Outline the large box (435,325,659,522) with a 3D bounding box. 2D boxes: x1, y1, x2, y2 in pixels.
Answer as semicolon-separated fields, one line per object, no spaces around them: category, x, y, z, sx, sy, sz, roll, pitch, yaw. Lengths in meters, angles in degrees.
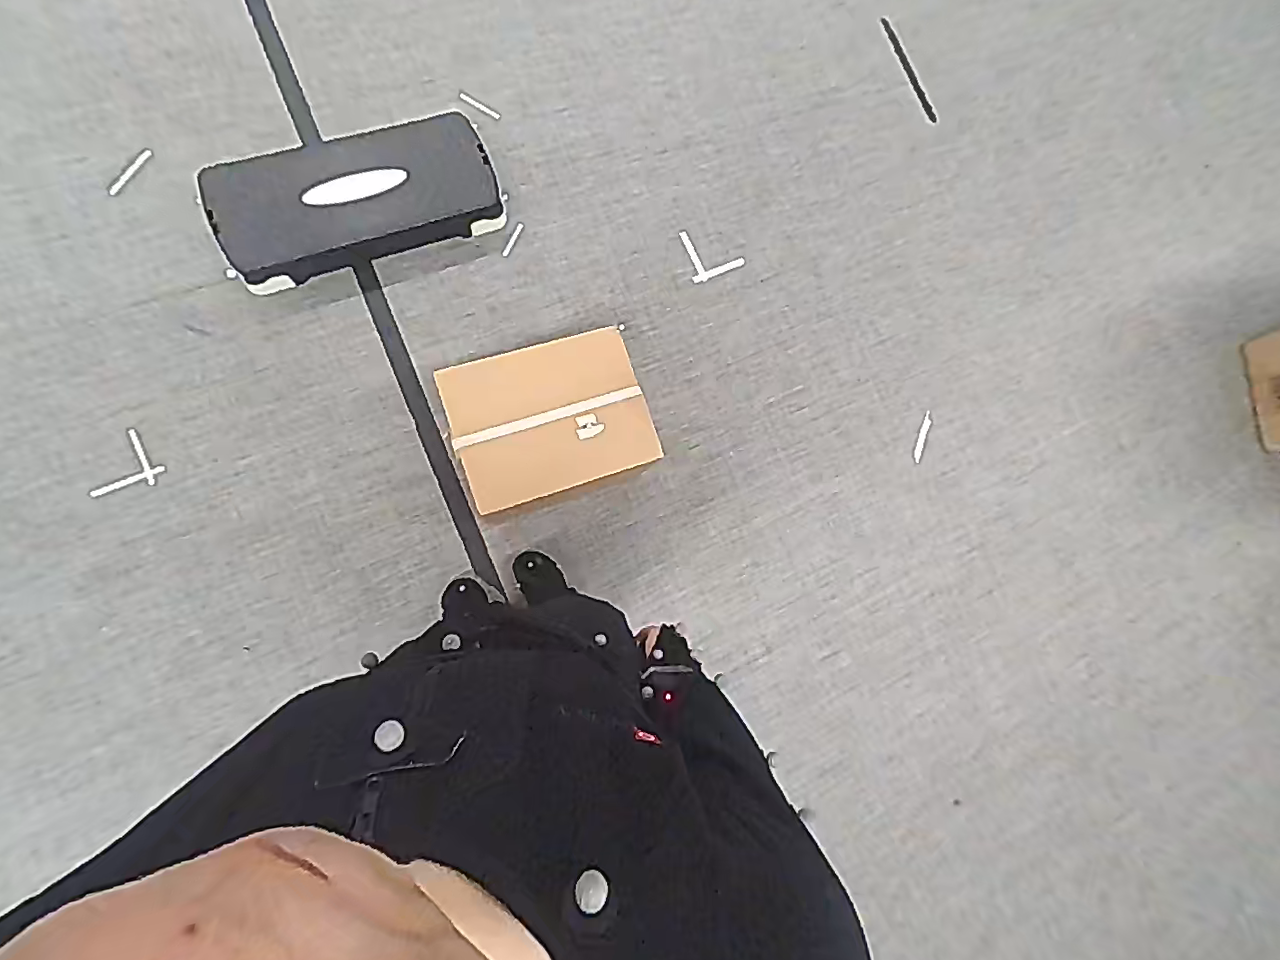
large box;-0.218;-0.117;1.281;0.408;0.320;0.320;-18;87;-14
